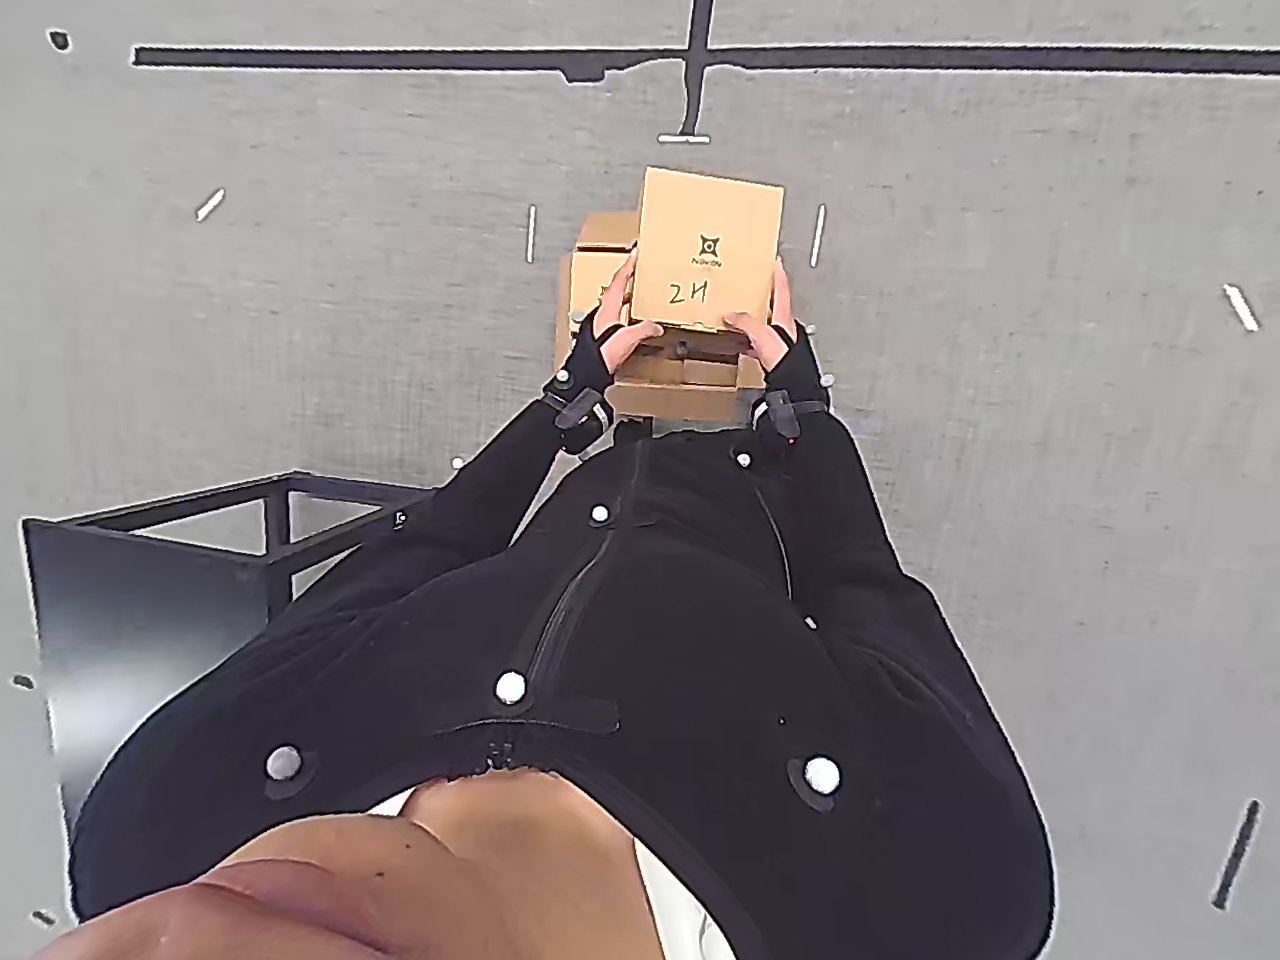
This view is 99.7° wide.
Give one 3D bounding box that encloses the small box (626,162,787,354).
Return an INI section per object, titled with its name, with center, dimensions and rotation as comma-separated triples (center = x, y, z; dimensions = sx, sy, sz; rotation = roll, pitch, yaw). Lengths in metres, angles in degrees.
[small box]
center = 0.073, -0.272, 0.703
dimensions = 0.168, 0.176, 0.179
rotation = 6, 95, -5
